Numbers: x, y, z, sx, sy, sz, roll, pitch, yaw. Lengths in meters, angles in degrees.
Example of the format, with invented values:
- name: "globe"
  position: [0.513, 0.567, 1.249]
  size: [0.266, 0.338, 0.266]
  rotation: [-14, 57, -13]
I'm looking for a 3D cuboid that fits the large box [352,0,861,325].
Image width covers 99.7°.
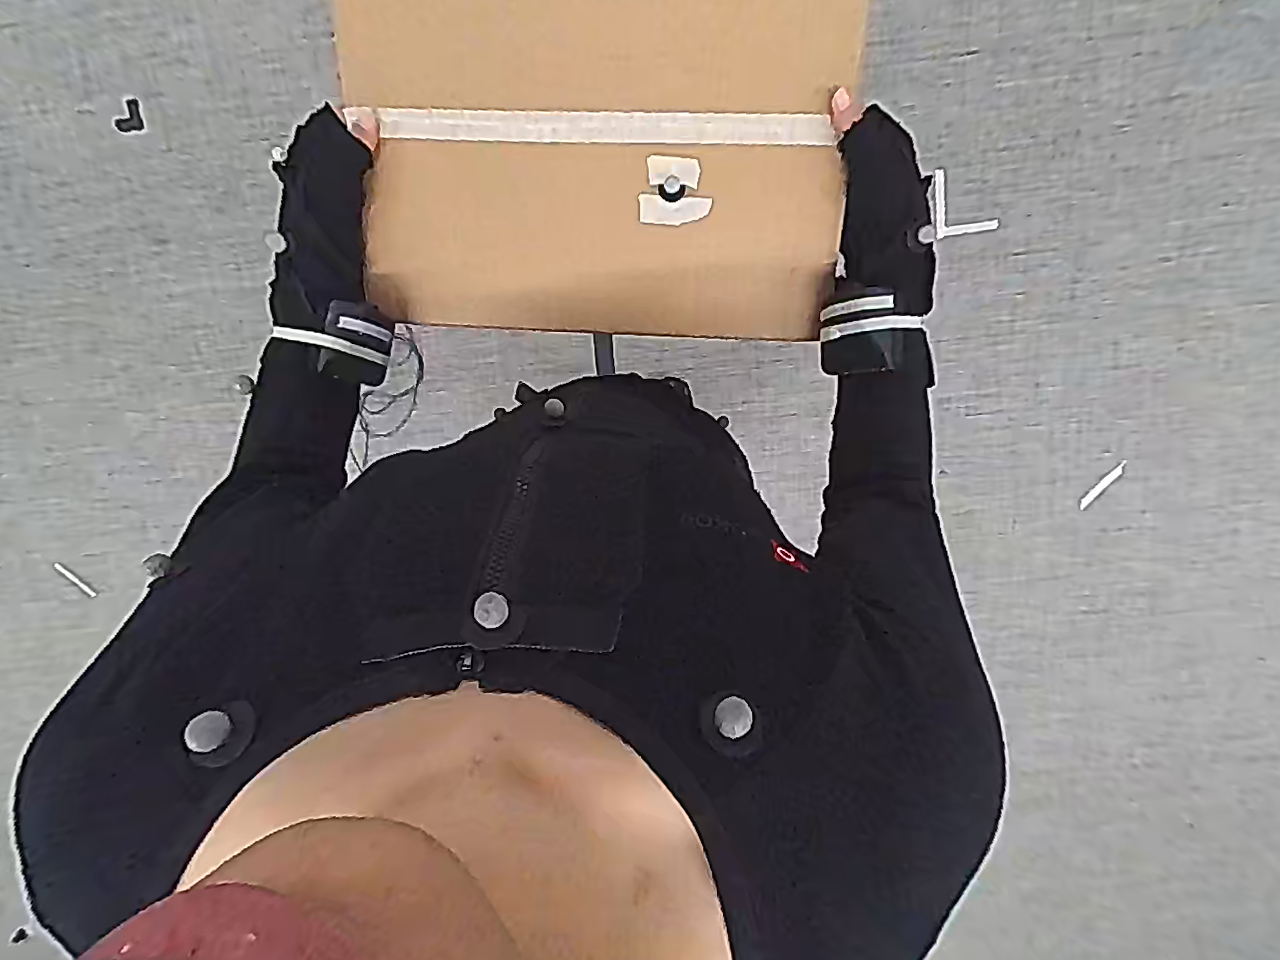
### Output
- name: "large box"
  position: [-0.025, -0.332, 0.583]
  size: [0.408, 0.320, 0.320]
  rotation: [3, 107, 3]
